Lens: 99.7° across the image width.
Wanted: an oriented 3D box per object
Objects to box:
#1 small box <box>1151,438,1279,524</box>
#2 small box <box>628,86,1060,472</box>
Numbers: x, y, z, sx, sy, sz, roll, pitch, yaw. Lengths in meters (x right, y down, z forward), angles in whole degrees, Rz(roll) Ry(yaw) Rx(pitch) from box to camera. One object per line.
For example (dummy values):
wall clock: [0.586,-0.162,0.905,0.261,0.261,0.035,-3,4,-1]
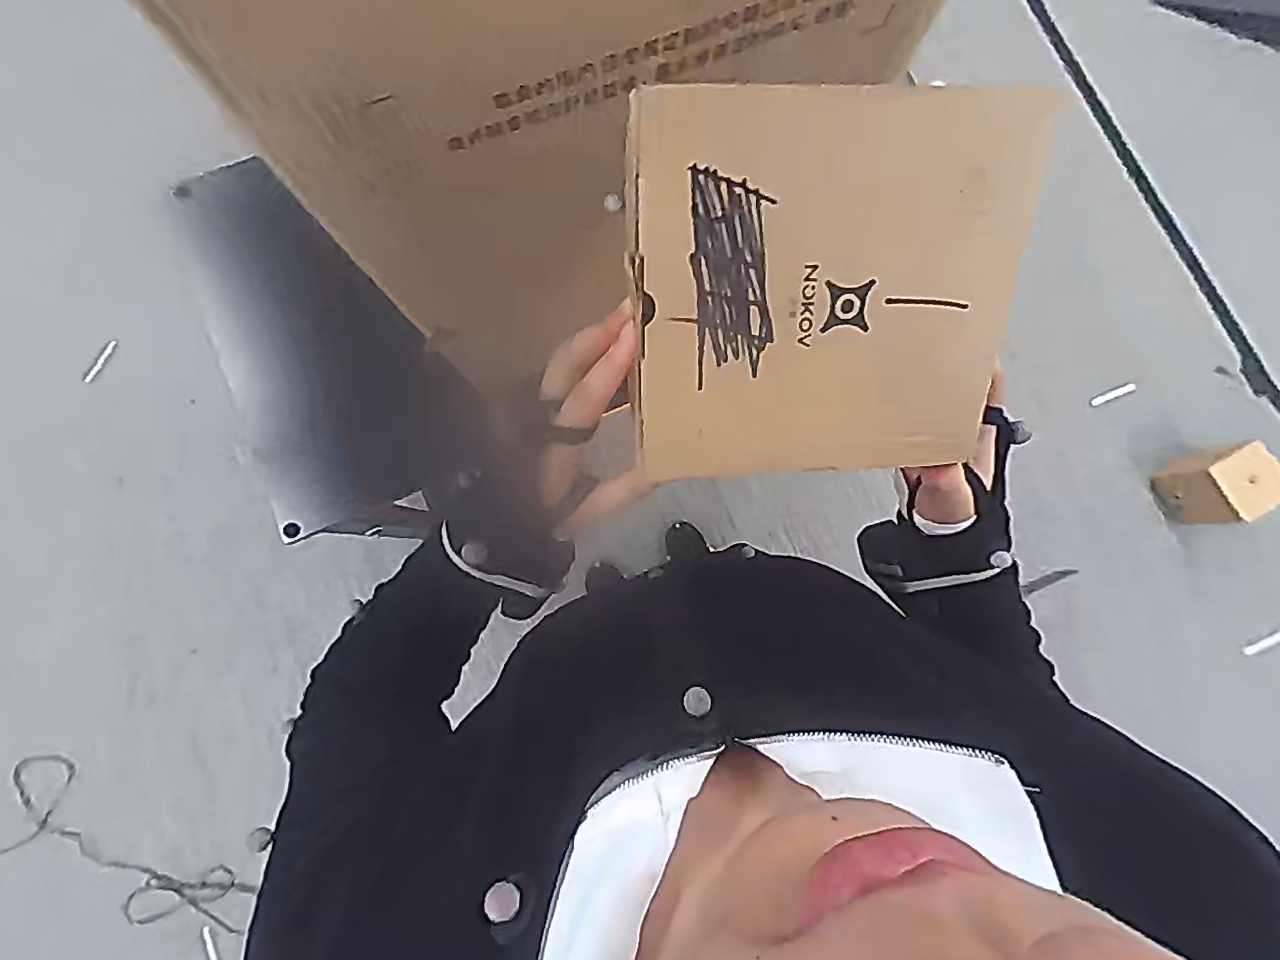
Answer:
small box: [1.598,0.008,1.495,0.179,0.176,0.168,-30,83,-4]
small box: [0.081,-0.110,0.319,0.179,0.176,0.168,-2,113,-2]
